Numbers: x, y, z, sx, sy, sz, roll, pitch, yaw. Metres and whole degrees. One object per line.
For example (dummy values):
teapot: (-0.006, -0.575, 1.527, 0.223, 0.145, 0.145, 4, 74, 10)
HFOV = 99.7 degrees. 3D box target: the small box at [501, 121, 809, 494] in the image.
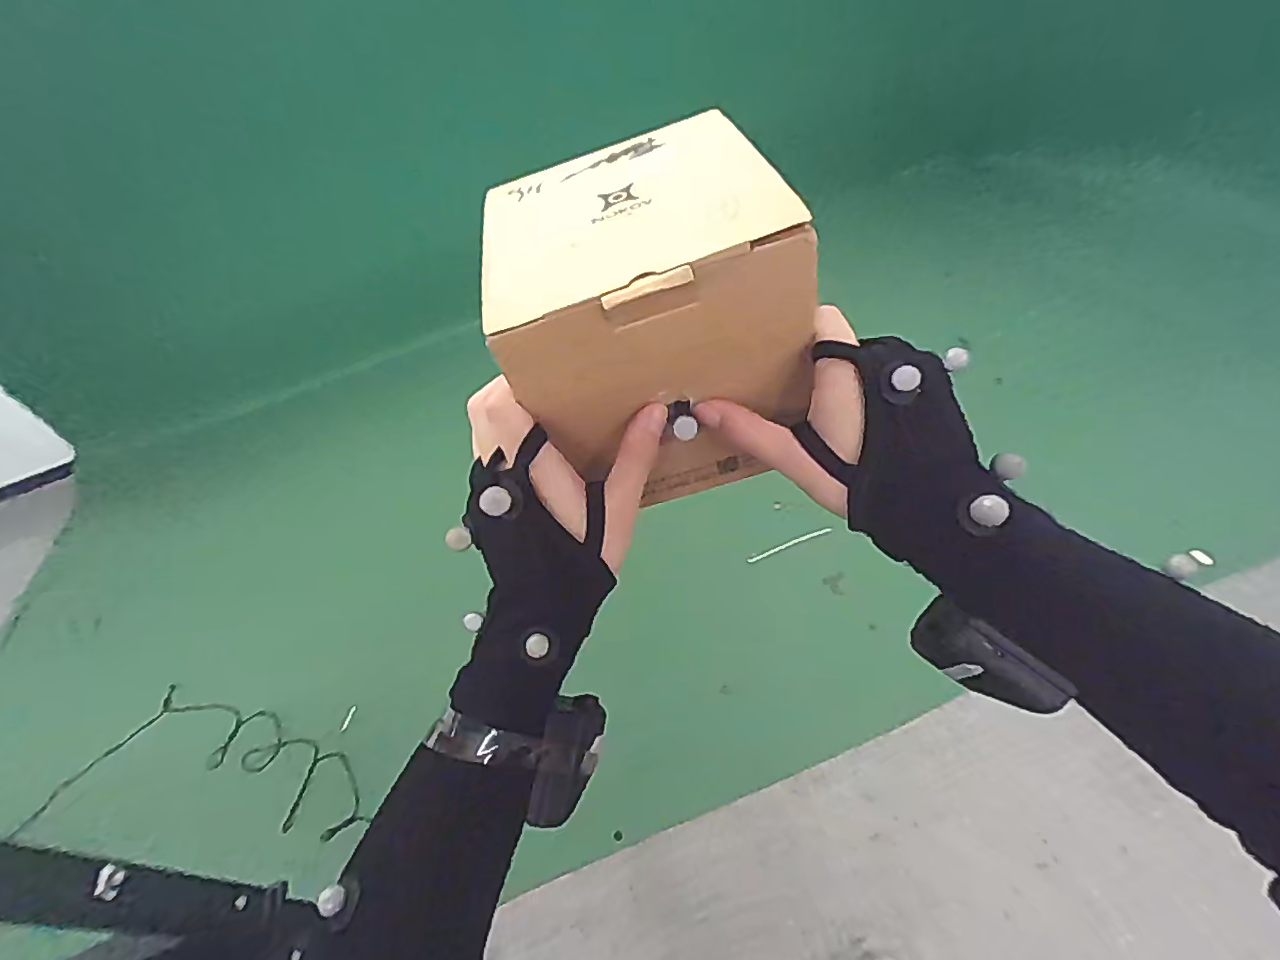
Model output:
small box: (0.014, -0.109, 0.383, 0.168, 0.176, 0.179, -16, 50, 5)
